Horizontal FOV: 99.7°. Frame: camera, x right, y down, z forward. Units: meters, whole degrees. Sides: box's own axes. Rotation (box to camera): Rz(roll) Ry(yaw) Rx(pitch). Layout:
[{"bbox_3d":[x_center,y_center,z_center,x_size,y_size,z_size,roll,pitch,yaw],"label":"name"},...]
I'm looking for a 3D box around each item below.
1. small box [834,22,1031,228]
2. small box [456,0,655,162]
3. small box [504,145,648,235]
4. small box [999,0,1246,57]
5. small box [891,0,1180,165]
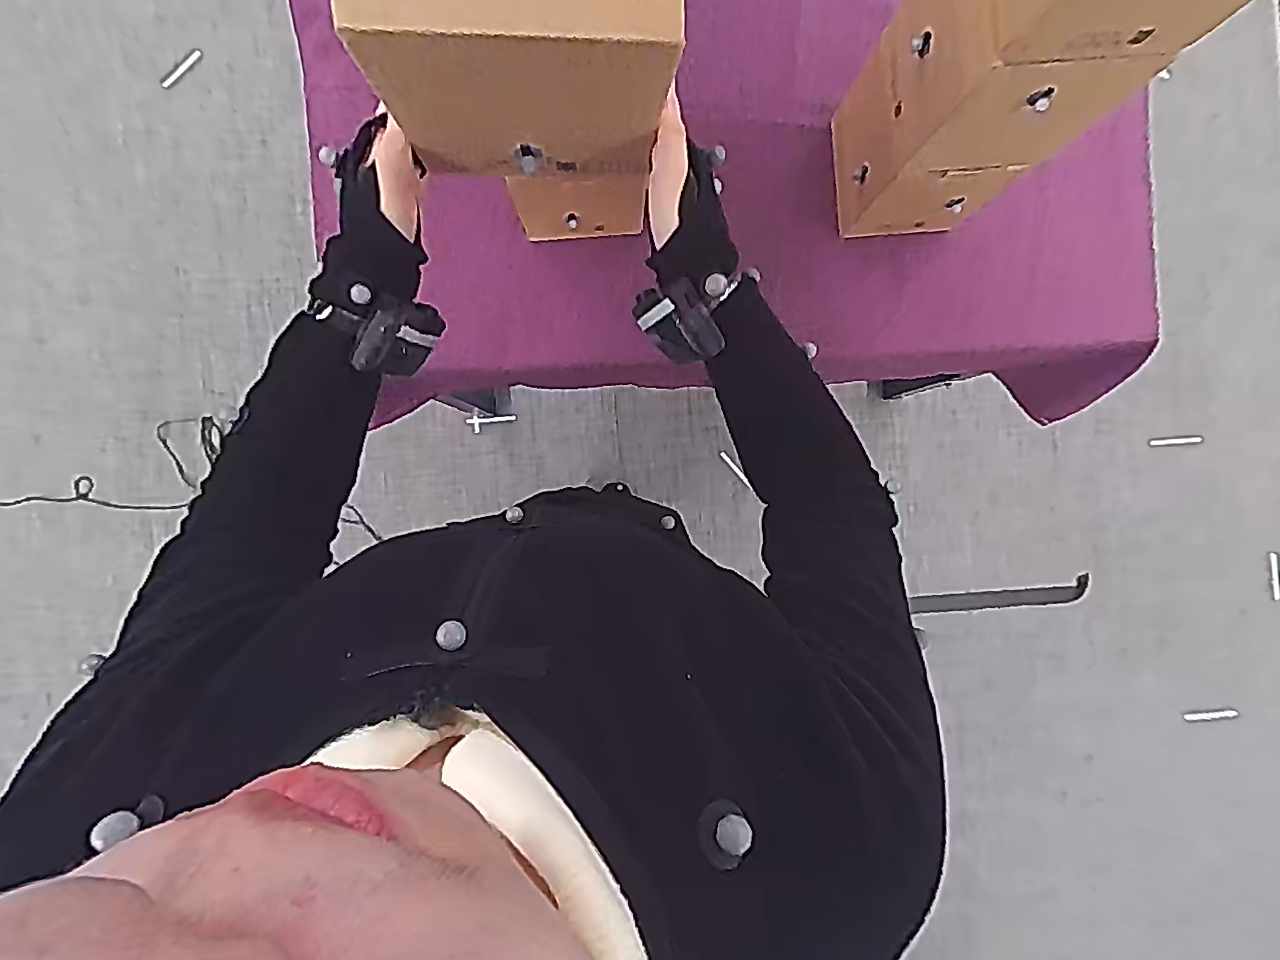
[{"bbox_3d":[0.367,-0.448,0.707,0.168,0.176,0.179,-4,90,-2],"label":"small box"},{"bbox_3d":[-0.077,-0.439,0.529,0.168,0.176,0.179,-6,91,-2],"label":"small box"},{"bbox_3d":[-0.082,-0.440,0.693,0.168,0.176,0.179,-5,92,-2],"label":"small box"},{"bbox_3d":[0.383,-0.447,0.378,0.168,0.176,0.179,-5,90,-2],"label":"small box"},{"bbox_3d":[0.372,-0.443,0.542,0.179,0.176,0.168,-5,92,-2],"label":"small box"}]
